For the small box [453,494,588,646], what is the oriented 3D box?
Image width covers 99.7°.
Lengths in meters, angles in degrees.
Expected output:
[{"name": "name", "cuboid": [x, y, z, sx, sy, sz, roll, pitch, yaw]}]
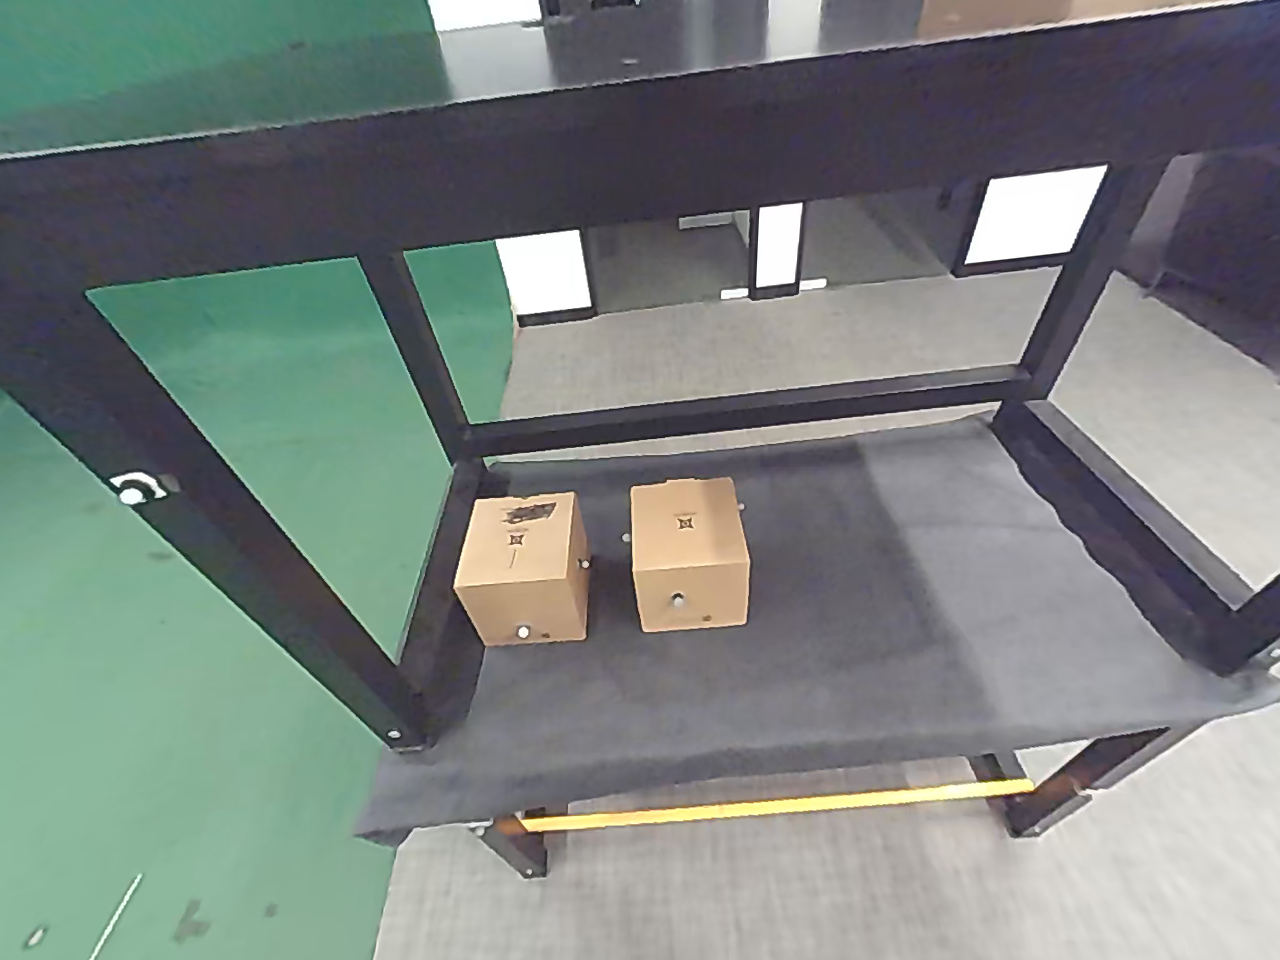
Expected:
[{"name": "small box", "cuboid": [-0.180, 0.146, 0.877, 0.168, 0.176, 0.179, -5, 44, 3]}]

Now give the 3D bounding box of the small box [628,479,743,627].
[{"name": "small box", "cuboid": [0.072, 0.123, 0.870, 0.168, 0.176, 0.179, -5, 43, 2]}]
